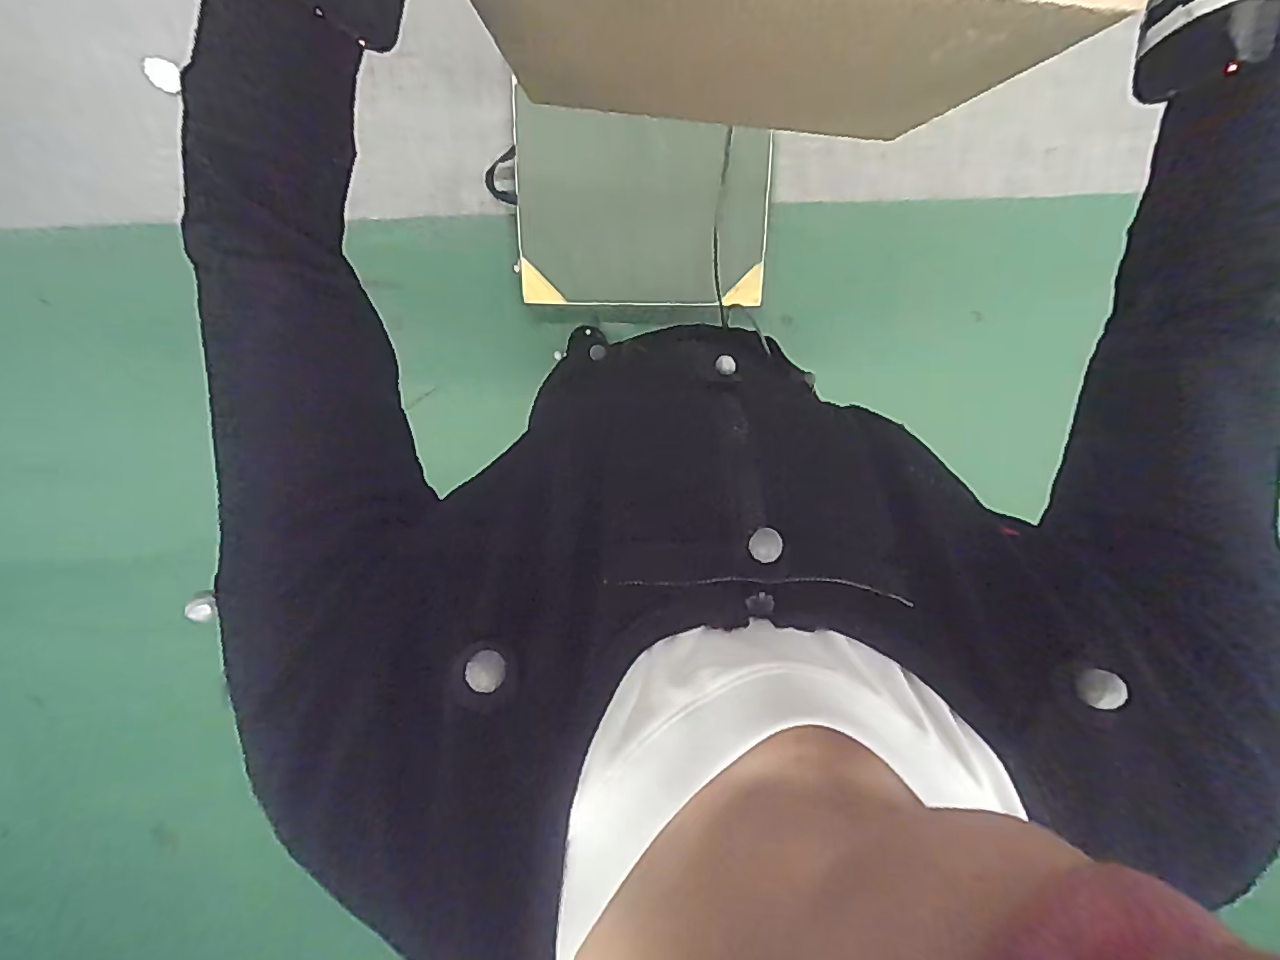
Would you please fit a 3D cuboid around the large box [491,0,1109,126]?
[{"bbox_3d":[0.095,-0.487,0.394,0.408,0.320,0.320,3,111,-4],"label":"large box"}]
